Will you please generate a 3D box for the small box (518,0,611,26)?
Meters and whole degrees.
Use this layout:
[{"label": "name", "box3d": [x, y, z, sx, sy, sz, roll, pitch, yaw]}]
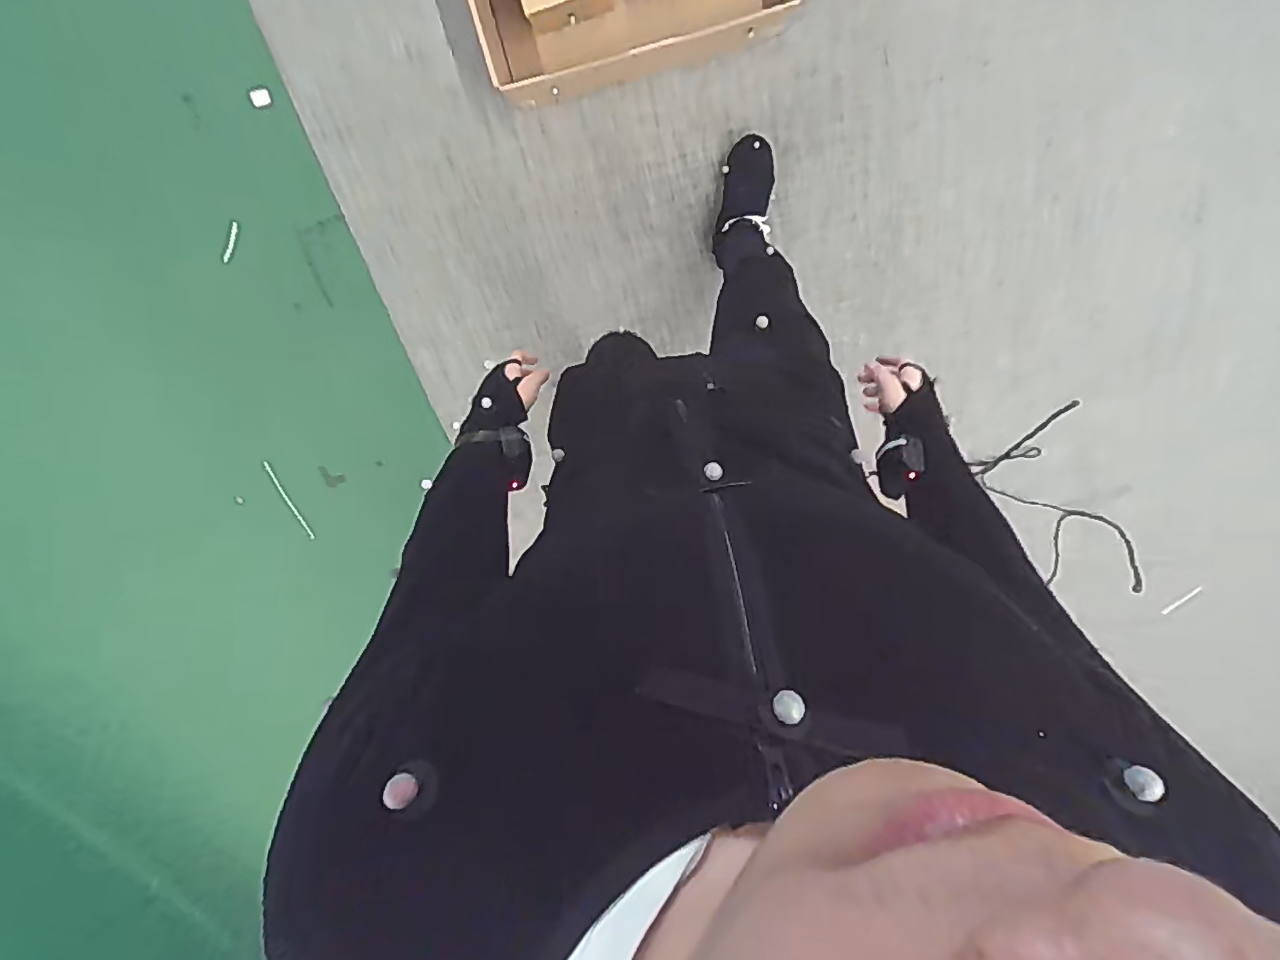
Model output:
[{"label": "small box", "box3d": [-0.156, -0.987, 1.011, 0.168, 0.176, 0.179, -11, 118, 8]}]
